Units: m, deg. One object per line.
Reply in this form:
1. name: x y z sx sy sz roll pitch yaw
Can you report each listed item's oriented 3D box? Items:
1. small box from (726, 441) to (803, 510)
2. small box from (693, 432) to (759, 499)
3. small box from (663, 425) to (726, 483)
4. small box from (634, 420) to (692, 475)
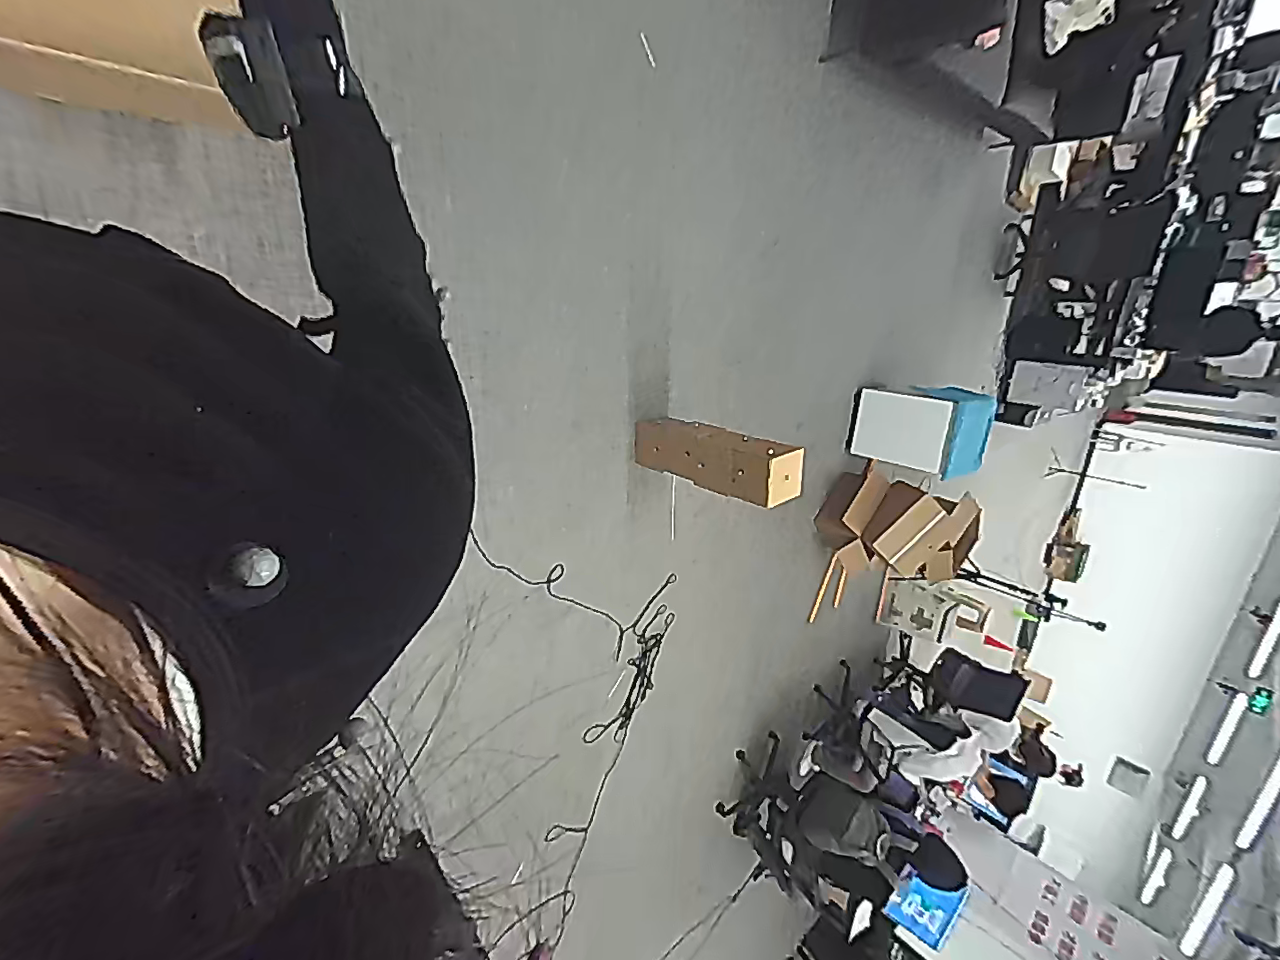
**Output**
1. small box: 0.404 -0.020 1.760 0.179 0.176 0.168 -17 115 -37
2. small box: 0.297 -0.056 1.879 0.168 0.176 0.179 -18 117 -38
3. small box: 0.200 -0.105 2.002 0.168 0.176 0.179 -15 114 -38
4. small box: 0.090 -0.136 2.120 0.168 0.176 0.179 -16 115 -39
